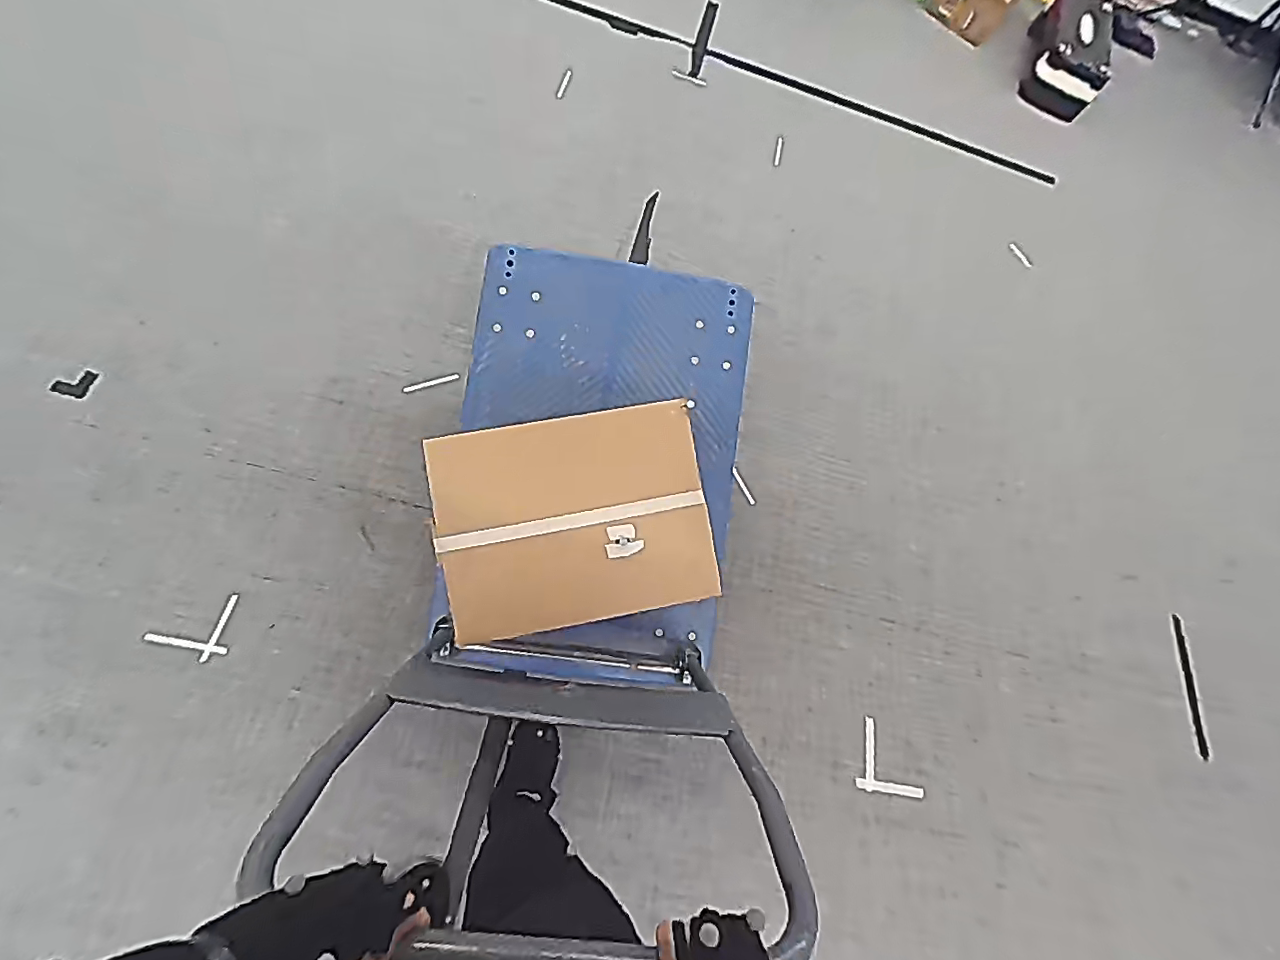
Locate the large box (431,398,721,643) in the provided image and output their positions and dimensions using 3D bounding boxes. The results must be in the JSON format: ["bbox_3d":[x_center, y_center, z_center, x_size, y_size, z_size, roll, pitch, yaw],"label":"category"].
[{"bbox_3d":[-0.111,0.066,0.972,0.408,0.320,0.320,-10,89,-7],"label":"large box"}]
